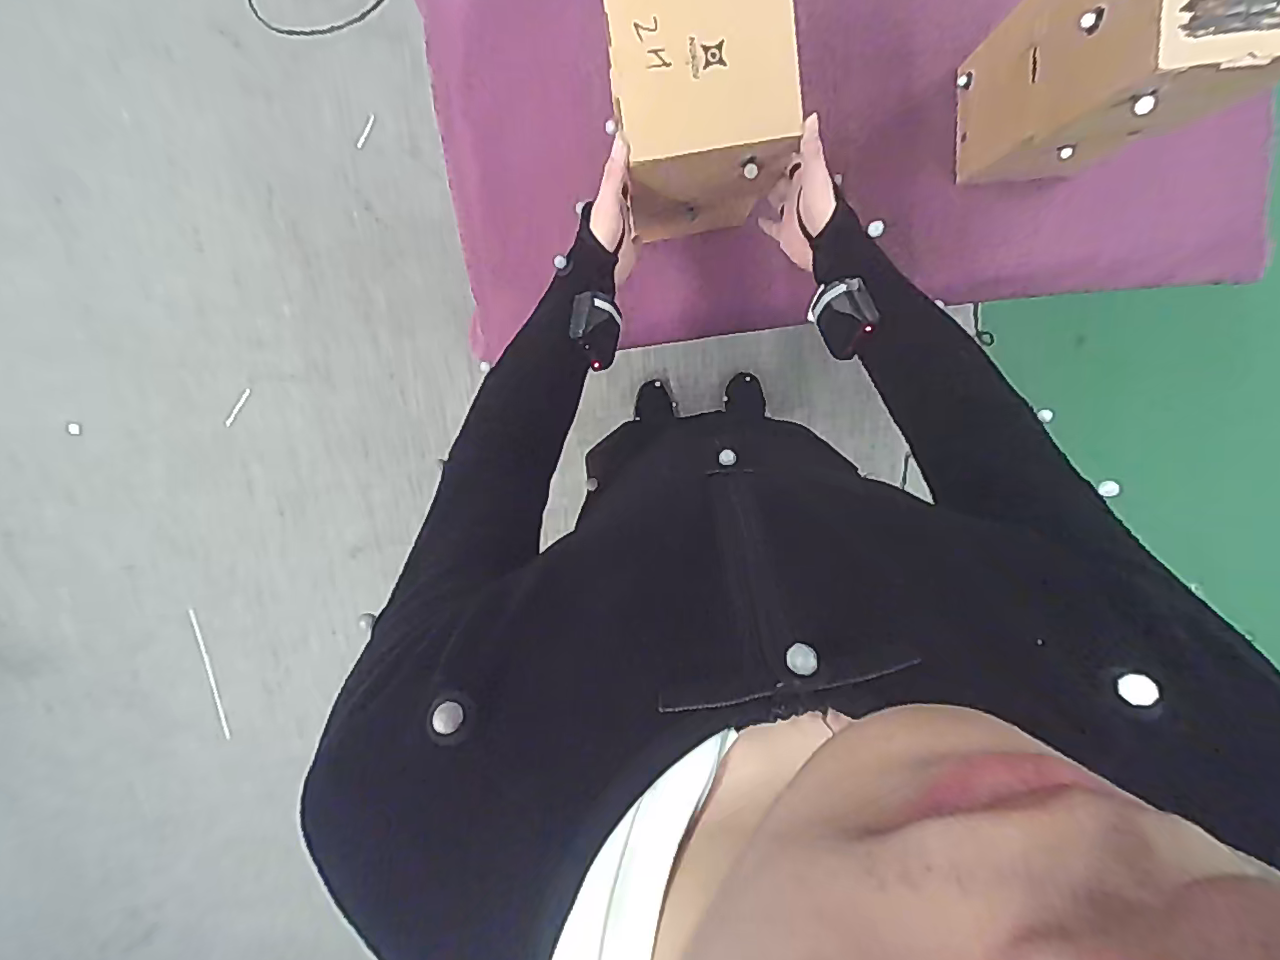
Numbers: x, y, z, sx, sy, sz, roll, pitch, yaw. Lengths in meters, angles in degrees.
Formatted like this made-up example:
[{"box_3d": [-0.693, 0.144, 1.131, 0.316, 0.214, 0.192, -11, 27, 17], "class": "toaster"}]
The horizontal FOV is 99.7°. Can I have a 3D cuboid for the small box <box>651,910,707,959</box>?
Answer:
[{"box_3d": [0.132, 1.594, 1.820, 0.179, 0.176, 0.168, -5, 99, 1], "class": "small box"}]

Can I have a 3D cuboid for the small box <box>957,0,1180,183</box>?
[{"box_3d": [0.556, -0.519, 0.726, 0.179, 0.176, 0.168, -5, 100, 1], "class": "small box"}]

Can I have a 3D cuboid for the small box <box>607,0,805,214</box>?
[{"box_3d": [0.064, -0.410, 0.588, 0.179, 0.176, 0.168, -8, 99, 3], "class": "small box"}]

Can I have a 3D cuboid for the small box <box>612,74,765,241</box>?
[{"box_3d": [0.063, -0.448, 0.749, 0.179, 0.176, 0.168, -9, 100, 3], "class": "small box"}]
